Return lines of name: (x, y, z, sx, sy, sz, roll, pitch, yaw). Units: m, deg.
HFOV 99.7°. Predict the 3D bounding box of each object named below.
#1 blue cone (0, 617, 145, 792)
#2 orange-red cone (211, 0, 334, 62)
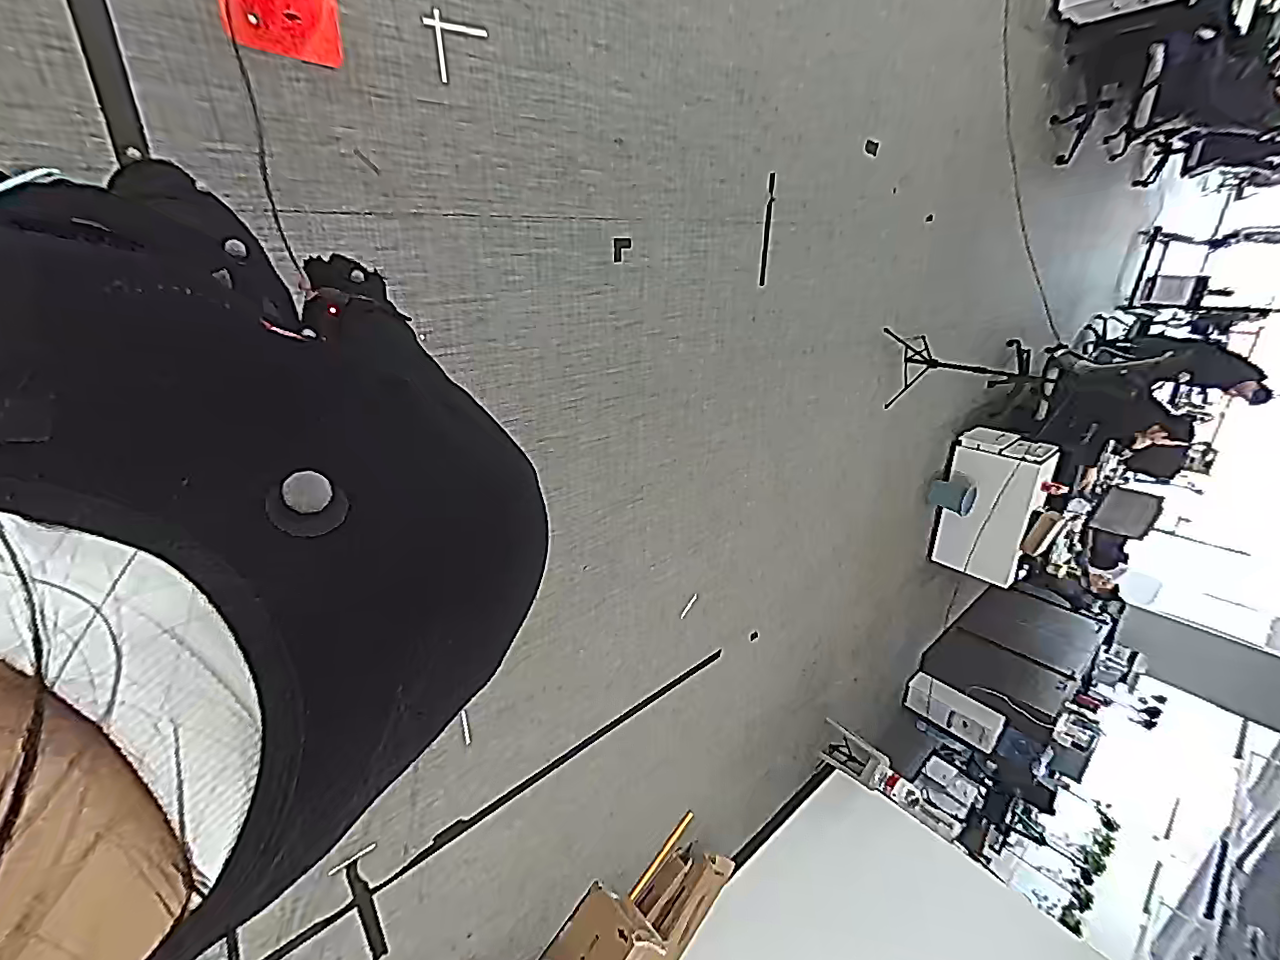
blue cone: (-1.068, 0.433, 1.011, 0.192, 0.380, 0.193, -13, 115, -38)
orange-red cone: (-0.581, -0.874, 0.900, 0.199, 0.360, 0.198, -14, 117, -40)
